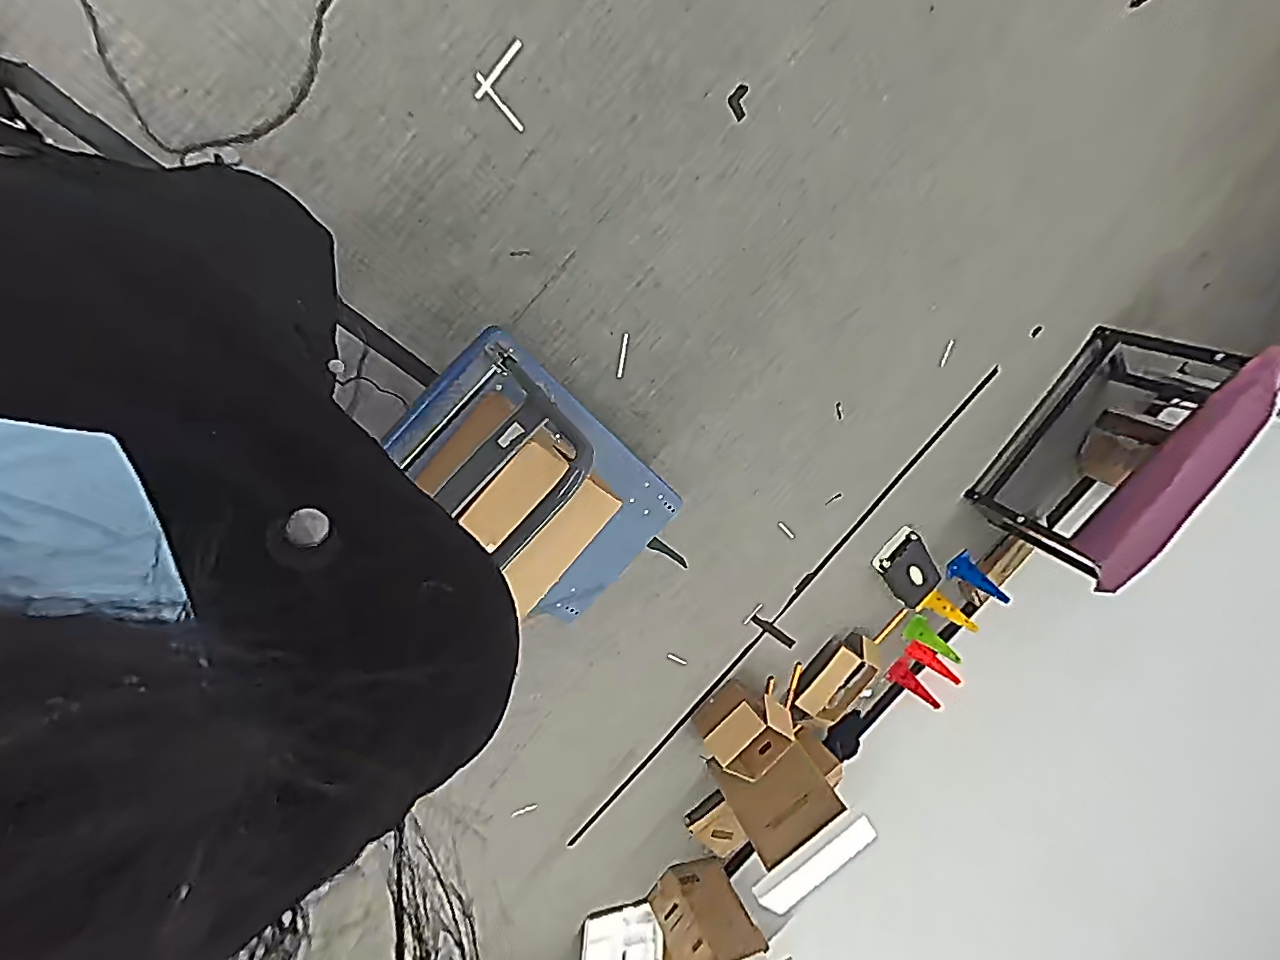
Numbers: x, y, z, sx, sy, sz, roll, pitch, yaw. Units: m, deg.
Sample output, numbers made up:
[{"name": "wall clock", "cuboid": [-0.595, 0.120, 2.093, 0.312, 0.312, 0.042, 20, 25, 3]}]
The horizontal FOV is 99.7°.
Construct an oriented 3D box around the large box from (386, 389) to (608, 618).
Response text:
[{"name": "large box", "cuboid": [-0.360, 0.054, 1.337, 0.408, 0.320, 0.320, -49, 130, 4]}]
